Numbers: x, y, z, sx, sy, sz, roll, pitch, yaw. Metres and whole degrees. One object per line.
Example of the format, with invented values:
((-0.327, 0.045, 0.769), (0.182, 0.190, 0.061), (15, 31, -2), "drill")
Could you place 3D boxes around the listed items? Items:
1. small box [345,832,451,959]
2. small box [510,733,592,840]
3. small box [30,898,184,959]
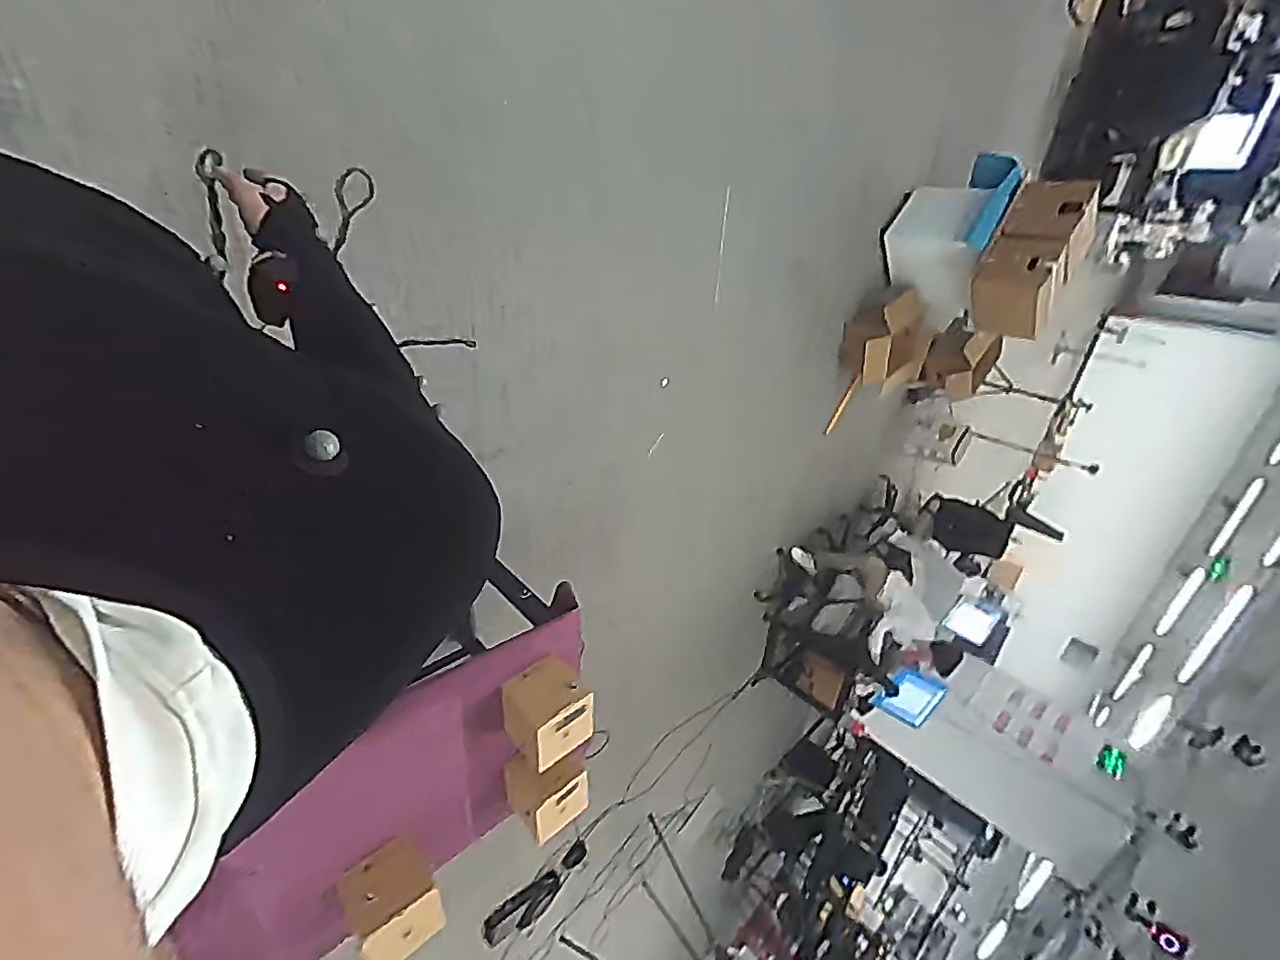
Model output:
((-0.566, 0.974, 1.265), (0.168, 0.176, 0.179), (-21, 127, -37), "small box")
((-0.251, 0.846, 1.517), (0.168, 0.176, 0.179), (-23, 128, -36), "small box")
((-0.854, 0.836, 0.872), (0.168, 0.176, 0.179), (-19, 126, -40), "small box")
